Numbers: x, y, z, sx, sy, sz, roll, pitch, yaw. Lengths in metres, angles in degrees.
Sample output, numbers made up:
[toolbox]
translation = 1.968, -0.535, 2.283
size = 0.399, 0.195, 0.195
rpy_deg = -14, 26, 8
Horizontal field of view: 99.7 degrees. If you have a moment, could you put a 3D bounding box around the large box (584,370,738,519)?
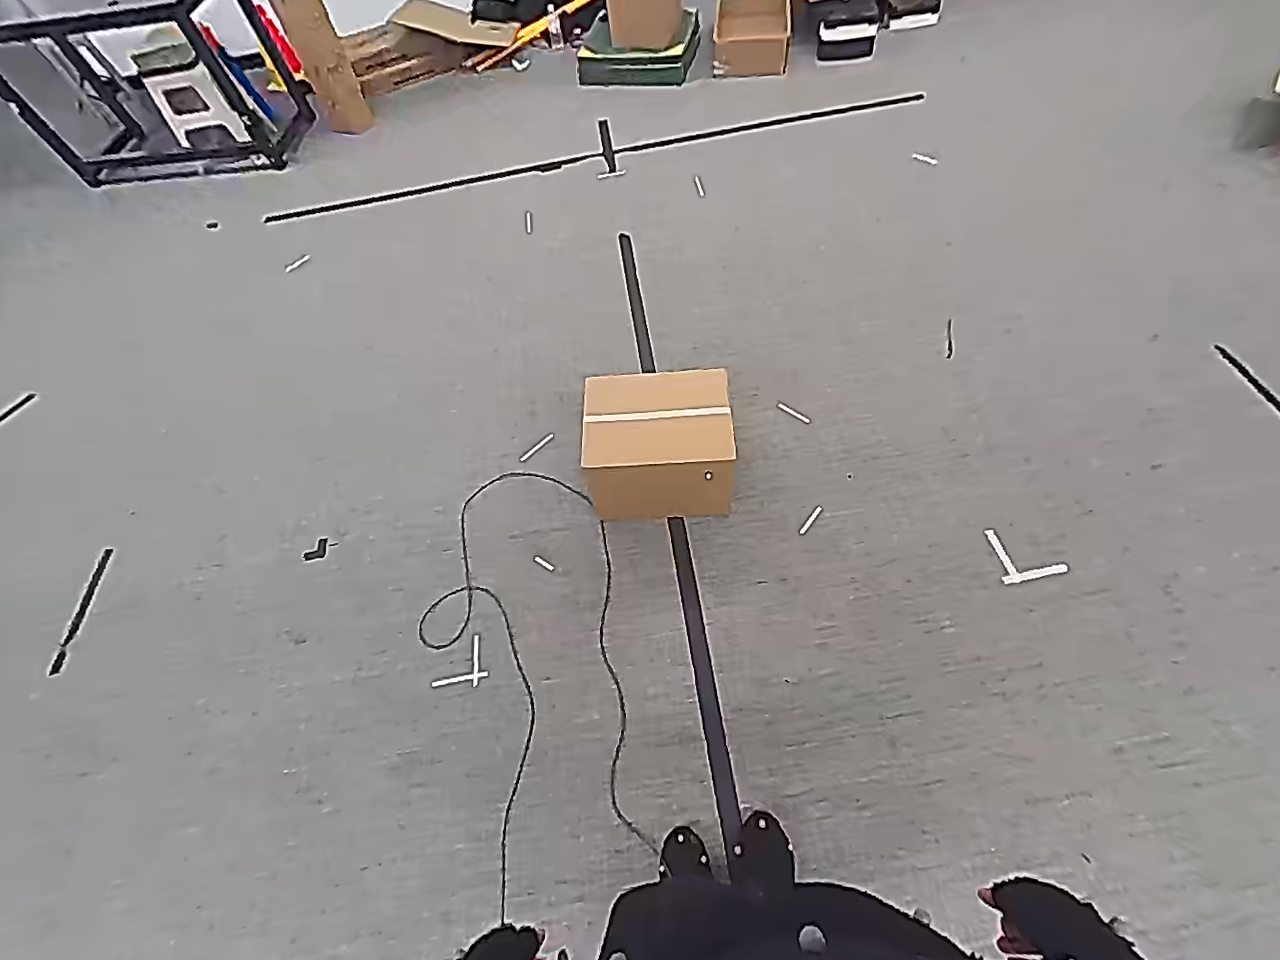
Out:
[large box]
translation = 0.062, -0.094, 1.590
size = 0.408, 0.320, 0.320
rpy_deg = -3, 59, 4
